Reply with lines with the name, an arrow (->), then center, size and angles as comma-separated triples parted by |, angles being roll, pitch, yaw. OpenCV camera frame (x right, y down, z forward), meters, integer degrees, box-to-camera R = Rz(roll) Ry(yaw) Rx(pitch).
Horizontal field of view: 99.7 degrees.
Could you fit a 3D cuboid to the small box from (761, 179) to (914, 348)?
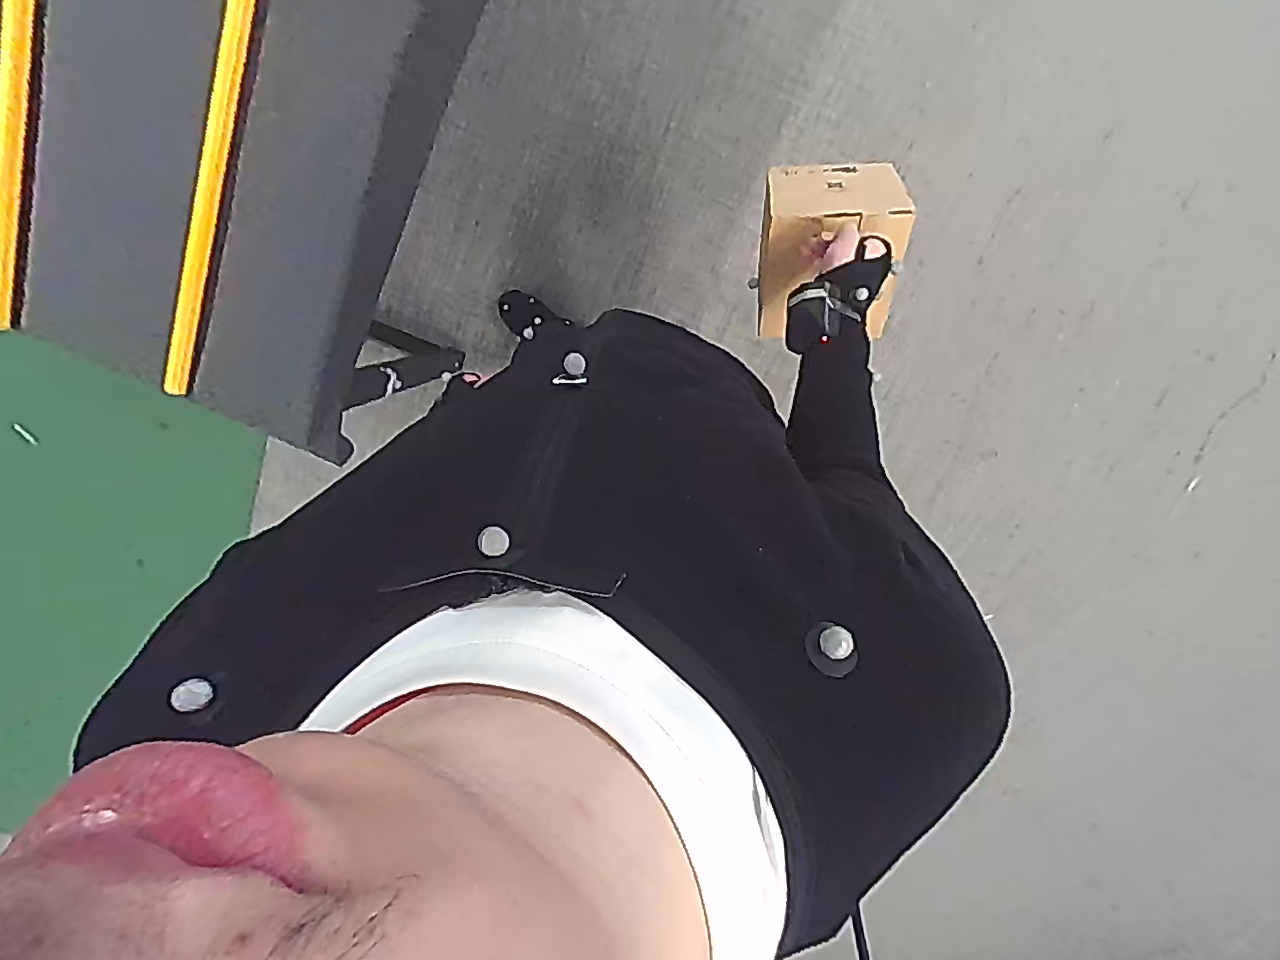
small box -> 0.261, -0.298, 0.759 | 0.168, 0.179, 0.176 | 0, 136, 8
